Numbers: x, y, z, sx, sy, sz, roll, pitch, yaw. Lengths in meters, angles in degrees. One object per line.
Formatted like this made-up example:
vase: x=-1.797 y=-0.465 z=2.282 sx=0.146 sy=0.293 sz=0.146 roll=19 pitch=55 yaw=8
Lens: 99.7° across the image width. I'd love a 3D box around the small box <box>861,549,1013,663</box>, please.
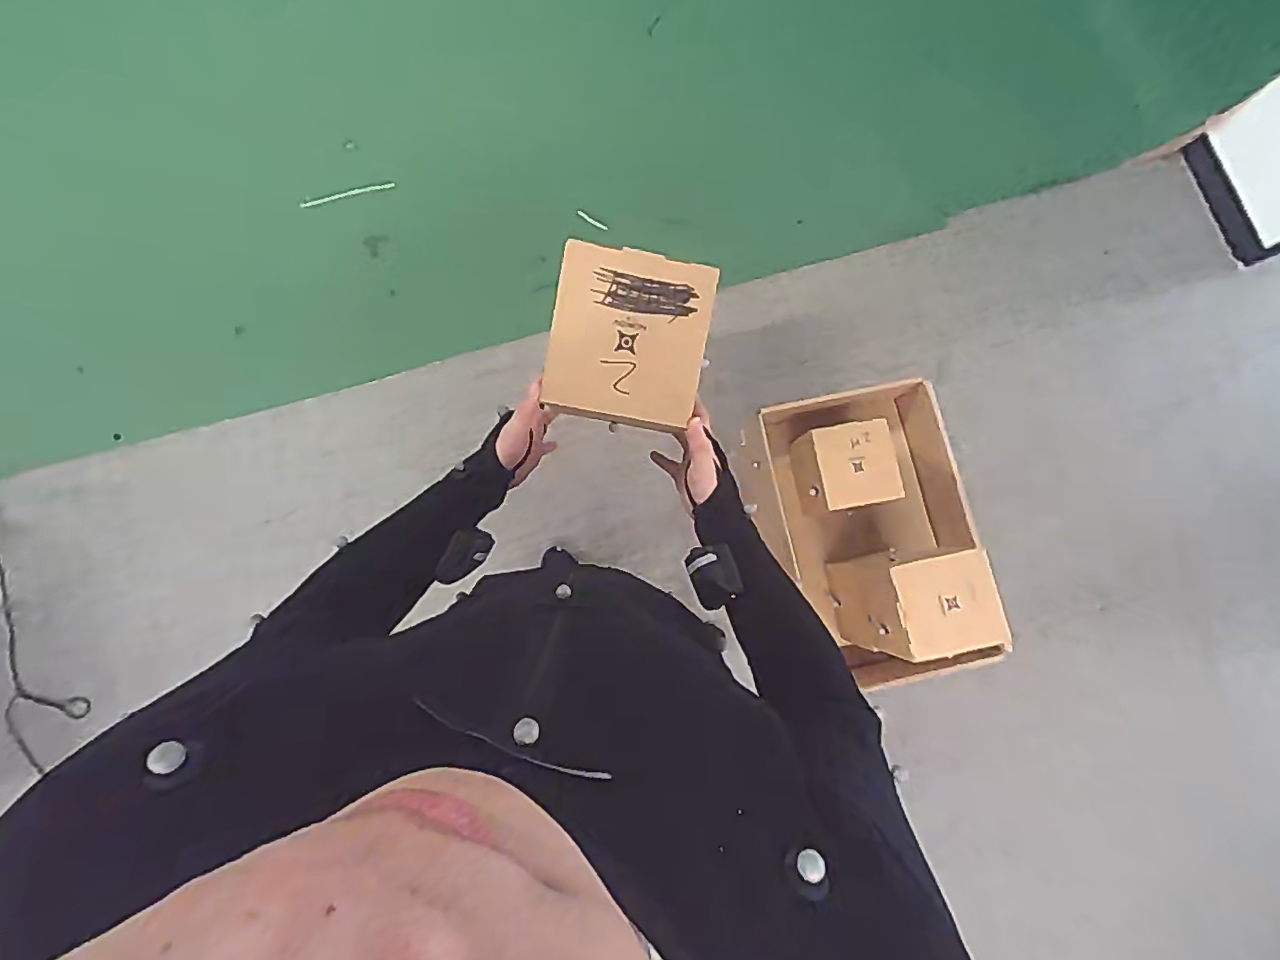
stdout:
small box: x=0.531 y=0.226 z=0.999 sx=0.179 sy=0.176 sz=0.168 roll=-11 pitch=83 yaw=-3
